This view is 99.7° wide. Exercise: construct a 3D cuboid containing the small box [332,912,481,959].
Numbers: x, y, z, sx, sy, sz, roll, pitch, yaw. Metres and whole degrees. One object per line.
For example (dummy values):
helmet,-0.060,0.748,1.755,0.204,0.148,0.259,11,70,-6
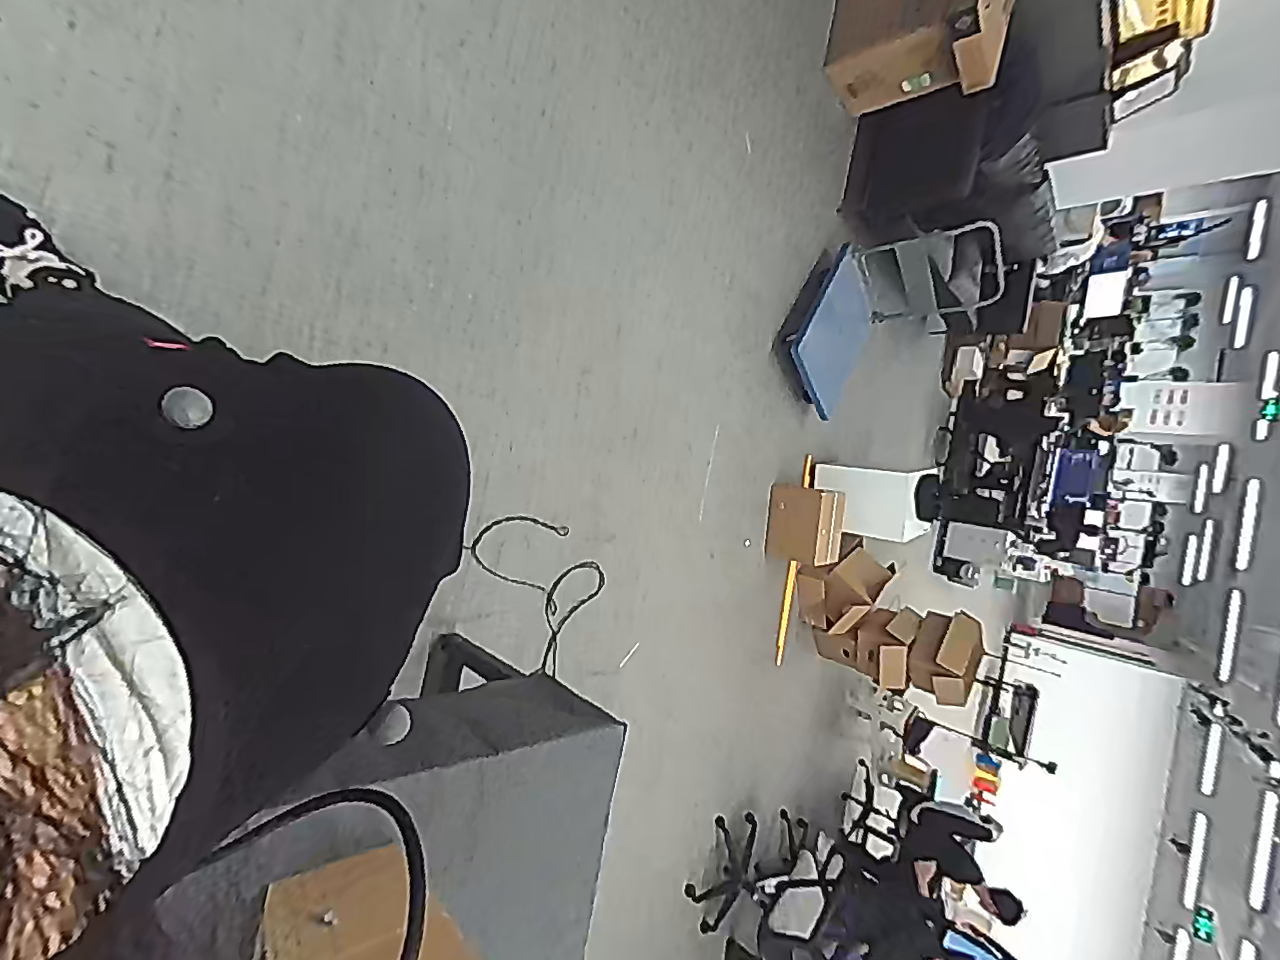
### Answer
small box,-0.288,0.667,0.630,0.179,0.176,0.168,13,88,-48
